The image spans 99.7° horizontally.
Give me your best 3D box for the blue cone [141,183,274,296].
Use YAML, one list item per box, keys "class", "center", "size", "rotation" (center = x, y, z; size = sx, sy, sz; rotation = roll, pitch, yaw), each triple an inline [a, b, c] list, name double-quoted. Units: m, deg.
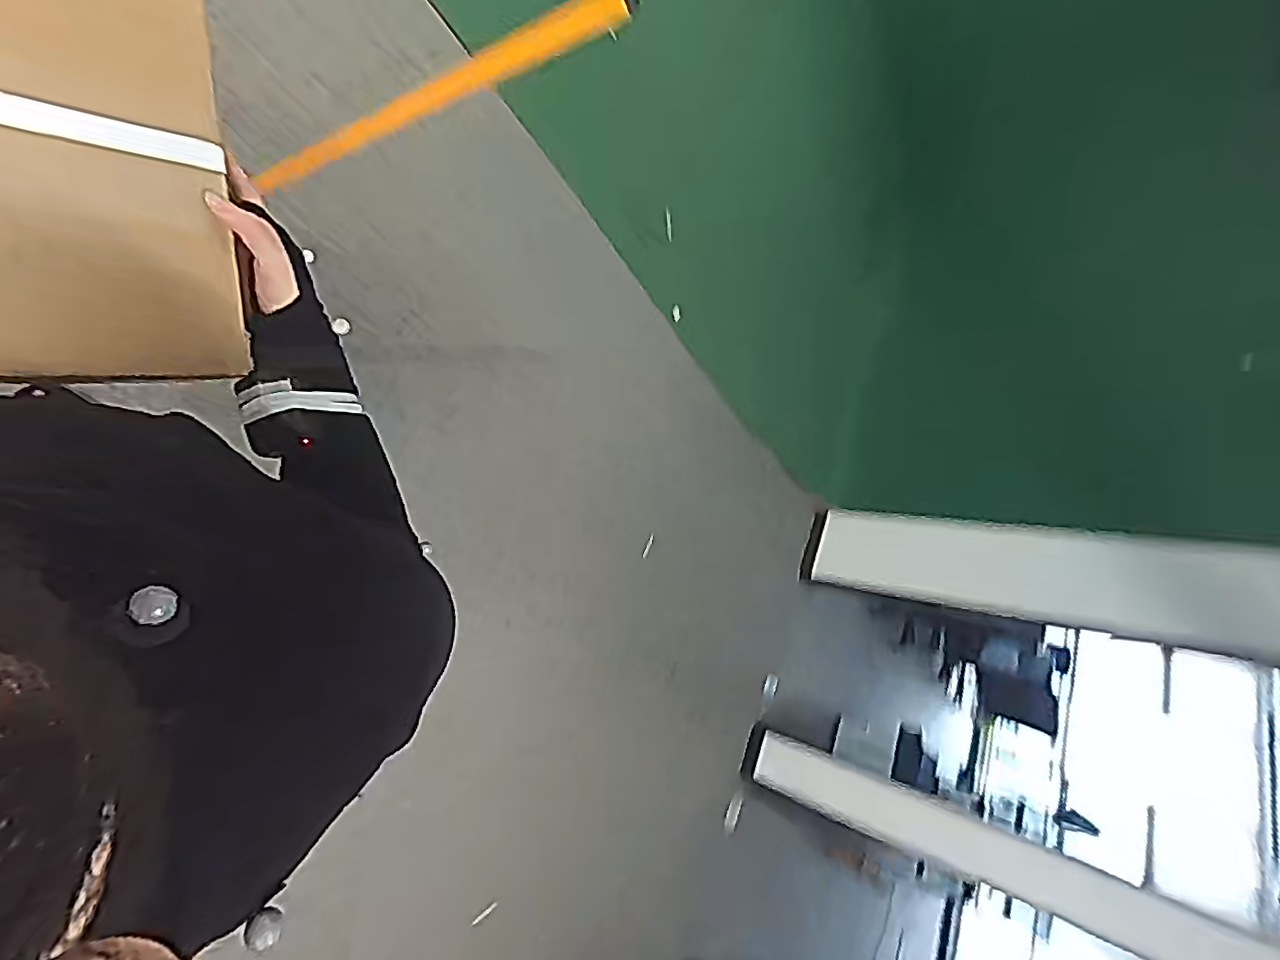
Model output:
- class: "blue cone"
  center: [-0.814, -0.514, 1.078]
  size: [0.193, 0.380, 0.192]
  rotation: [40, 64, -44]
